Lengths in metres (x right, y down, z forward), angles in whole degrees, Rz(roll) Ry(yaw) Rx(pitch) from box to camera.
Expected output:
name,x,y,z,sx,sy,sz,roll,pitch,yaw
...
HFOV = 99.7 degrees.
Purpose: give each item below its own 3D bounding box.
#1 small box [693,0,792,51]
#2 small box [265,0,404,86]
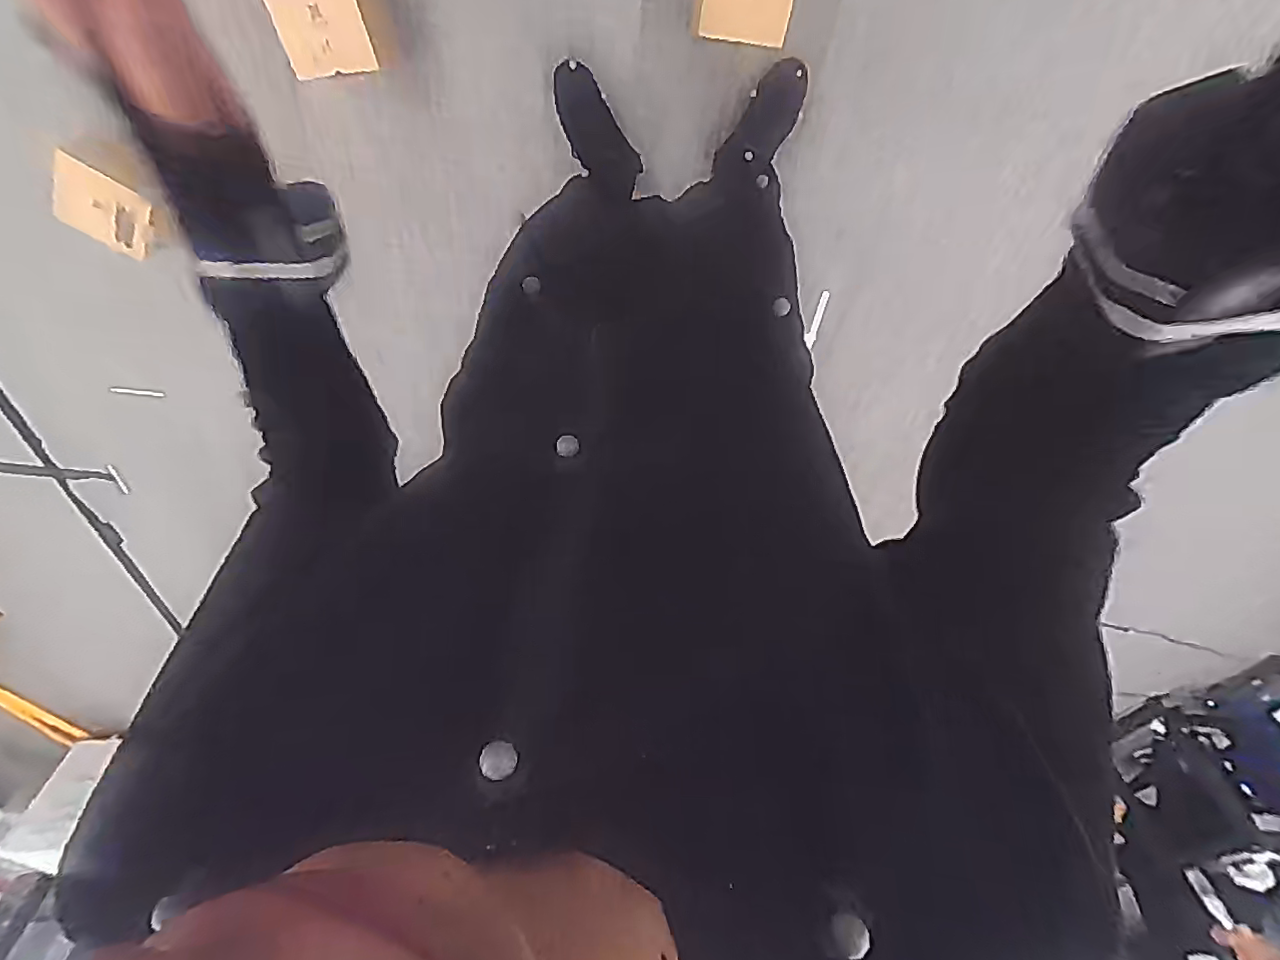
name,x,y,z,sx,sy,sz,roll,pitch,yaw
small box,0.197,-0.938,1.024,0.168,0.176,0.179,4,130,-5
small box,-0.587,-0.887,1.047,0.168,0.176,0.179,-6,131,4
